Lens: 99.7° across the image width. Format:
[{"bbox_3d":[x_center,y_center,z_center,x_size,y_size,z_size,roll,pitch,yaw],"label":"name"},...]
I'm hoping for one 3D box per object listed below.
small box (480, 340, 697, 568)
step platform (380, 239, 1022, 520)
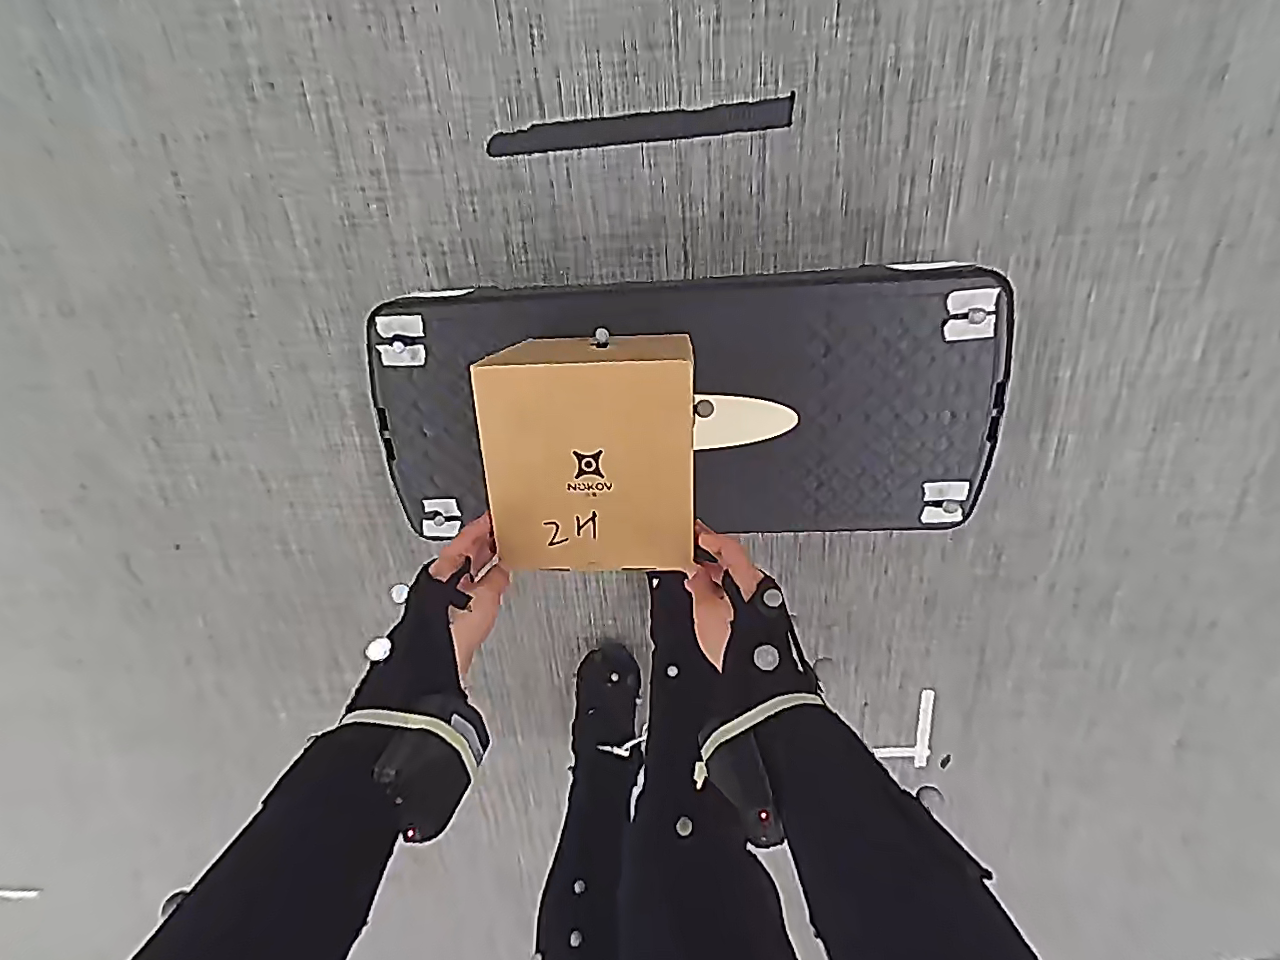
[{"bbox_3d":[-0.034,-0.035,0.503,0.168,0.176,0.179,0,111,4],"label":"small box"},{"bbox_3d":[0.058,-0.116,0.653,0.684,0.204,0.286,-2,110,5],"label":"step platform"}]
